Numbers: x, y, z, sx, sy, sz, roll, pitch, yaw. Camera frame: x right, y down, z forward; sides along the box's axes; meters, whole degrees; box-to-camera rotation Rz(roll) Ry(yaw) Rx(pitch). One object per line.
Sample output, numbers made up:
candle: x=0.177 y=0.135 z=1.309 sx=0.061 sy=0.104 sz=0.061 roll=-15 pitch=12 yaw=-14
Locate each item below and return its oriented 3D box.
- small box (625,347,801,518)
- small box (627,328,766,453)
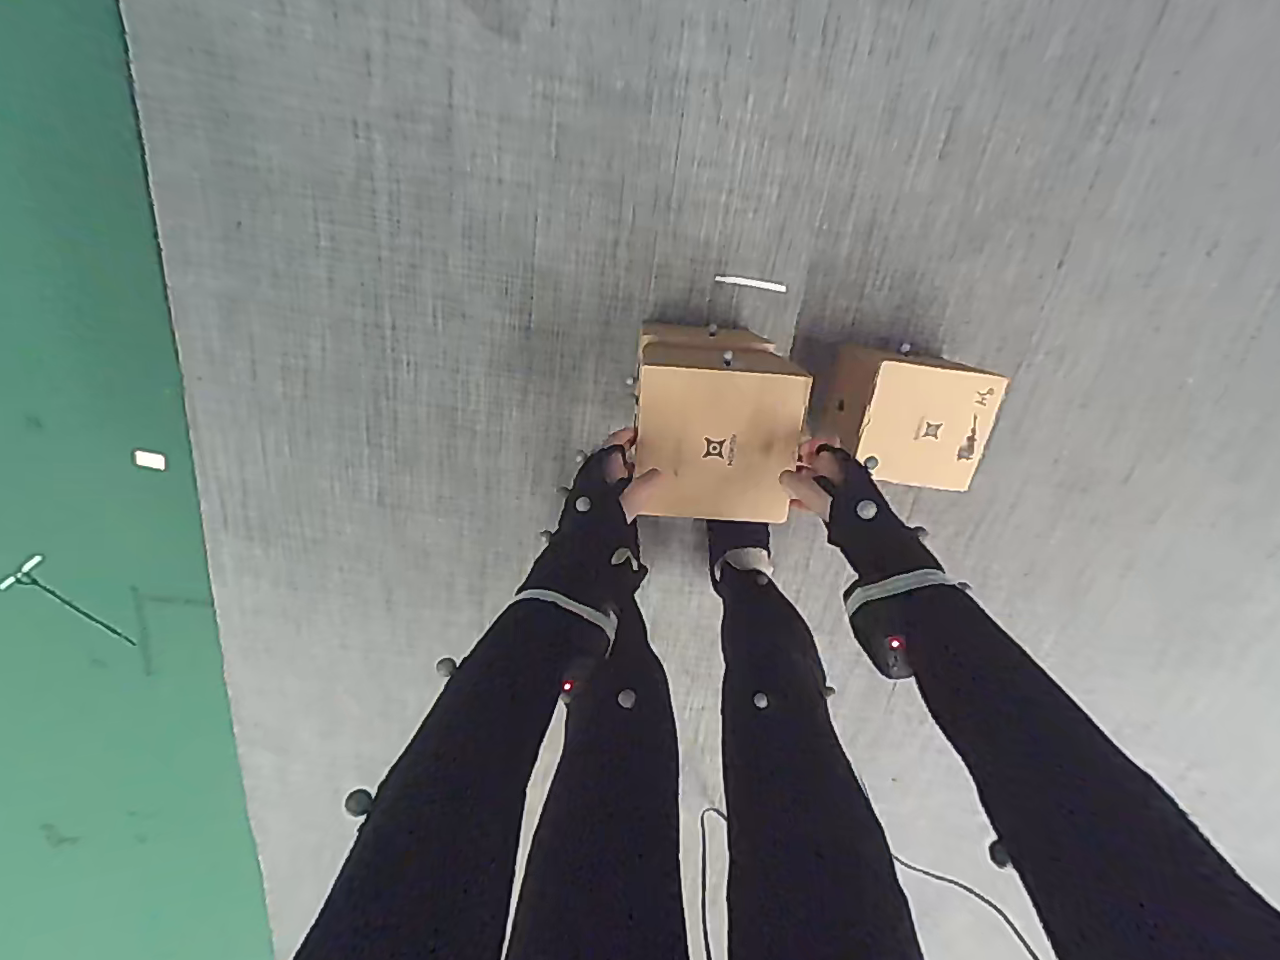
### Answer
small box: x=0.076 y=-0.066 z=0.662 sx=0.179 sy=0.176 sz=0.168 roll=4 pitch=110 yaw=-1
small box: x=0.074 y=-0.133 z=0.810 sx=0.179 sy=0.176 sz=0.168 roll=4 pitch=110 yaw=-1
